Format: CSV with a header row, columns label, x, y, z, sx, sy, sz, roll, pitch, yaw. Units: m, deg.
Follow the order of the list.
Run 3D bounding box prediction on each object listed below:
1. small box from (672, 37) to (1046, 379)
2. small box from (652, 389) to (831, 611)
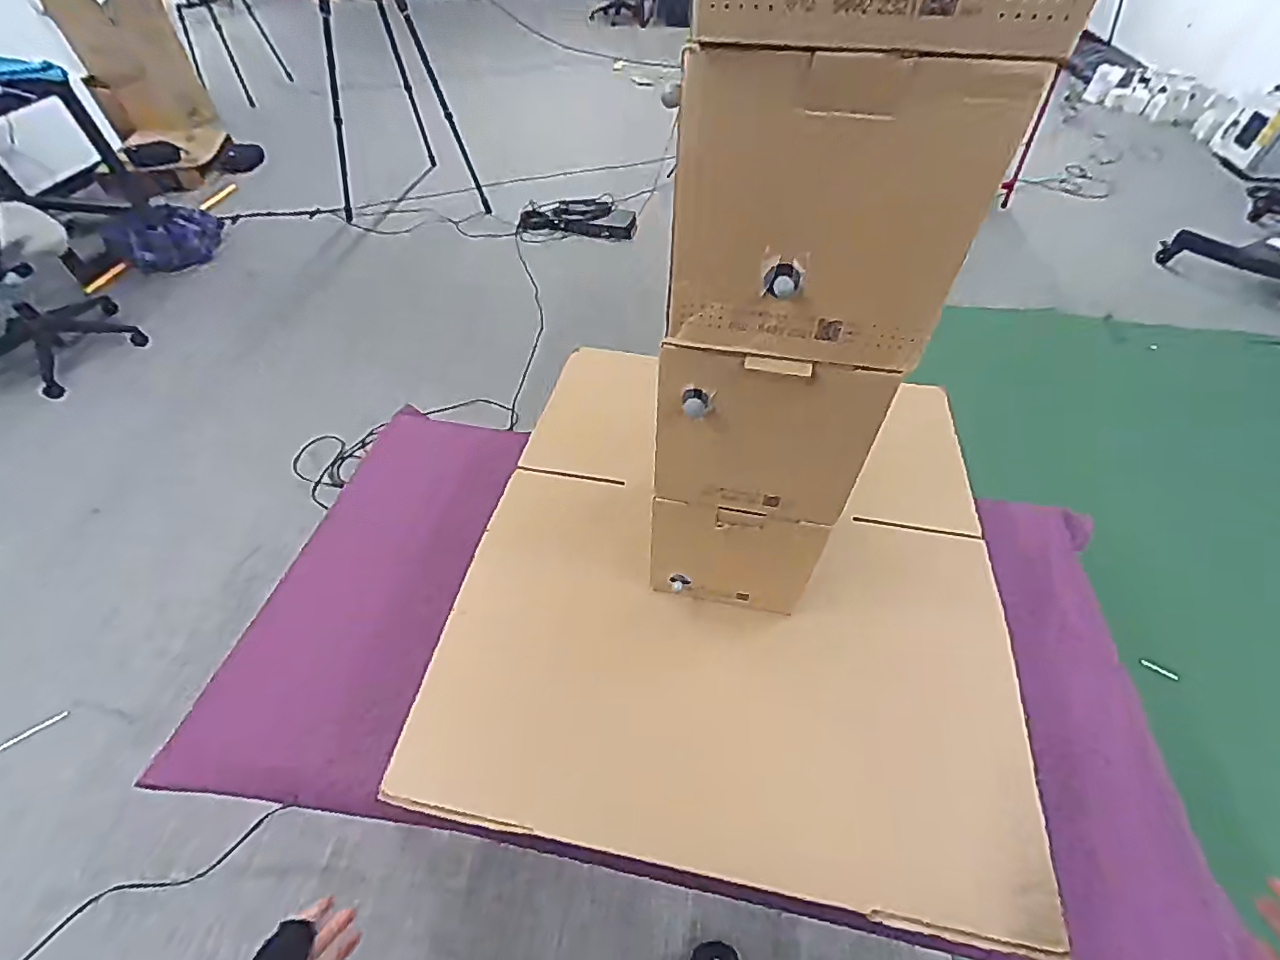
label,x,y,z,sx,sy,sz,roll,pitch,yaw
small box,0.115,-0.194,0.363,0.168,0.176,0.179,8,49,6
small box,0.110,0.025,0.606,0.168,0.176,0.179,9,49,8
